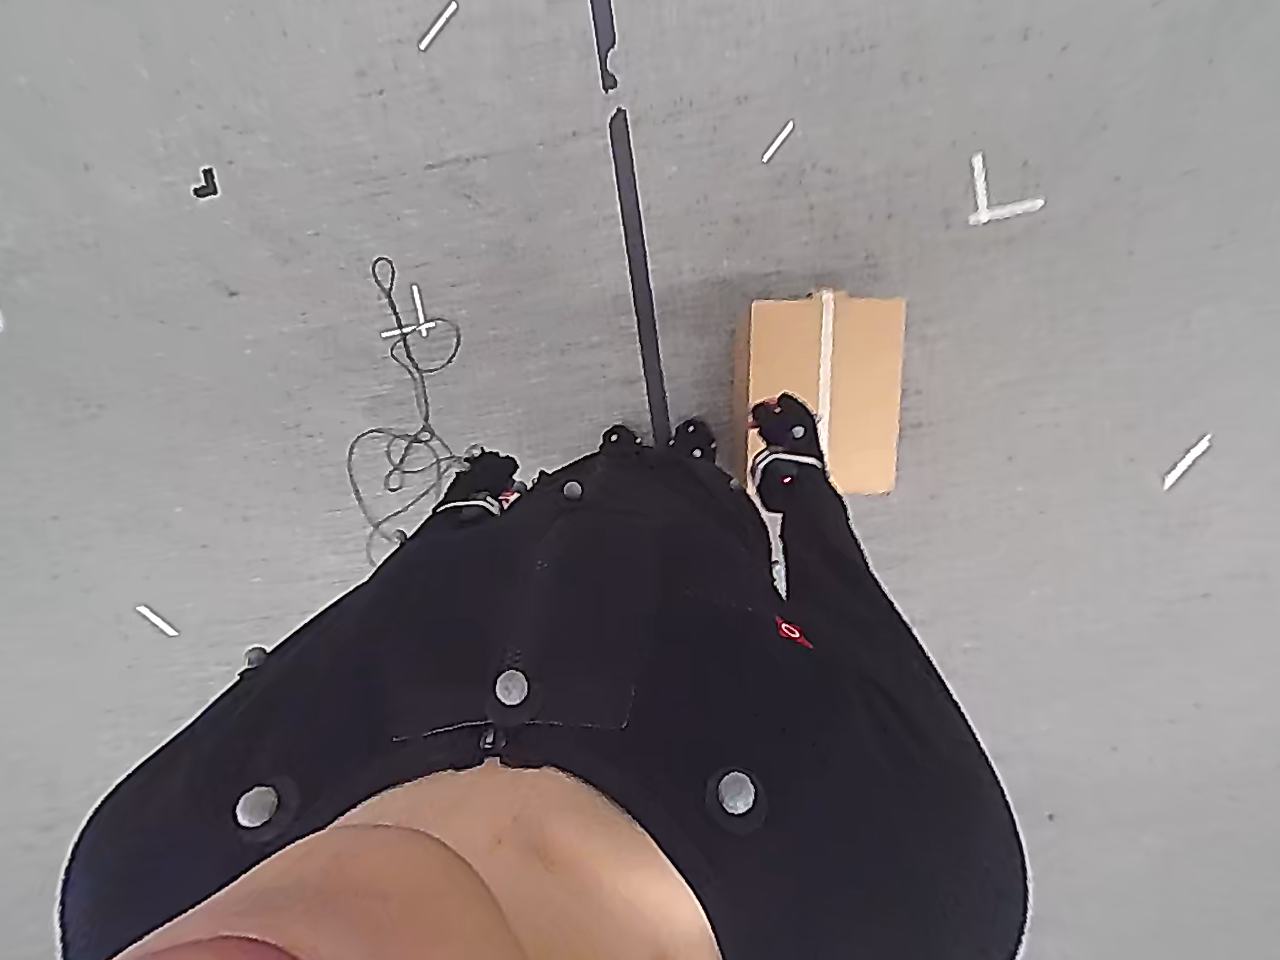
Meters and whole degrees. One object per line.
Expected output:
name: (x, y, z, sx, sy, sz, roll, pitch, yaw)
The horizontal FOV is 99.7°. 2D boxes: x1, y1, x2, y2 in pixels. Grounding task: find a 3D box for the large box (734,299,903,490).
large box: (0.400, -0.200, 1.297, 0.320, 0.320, 0.408, 0, 99, 4)
